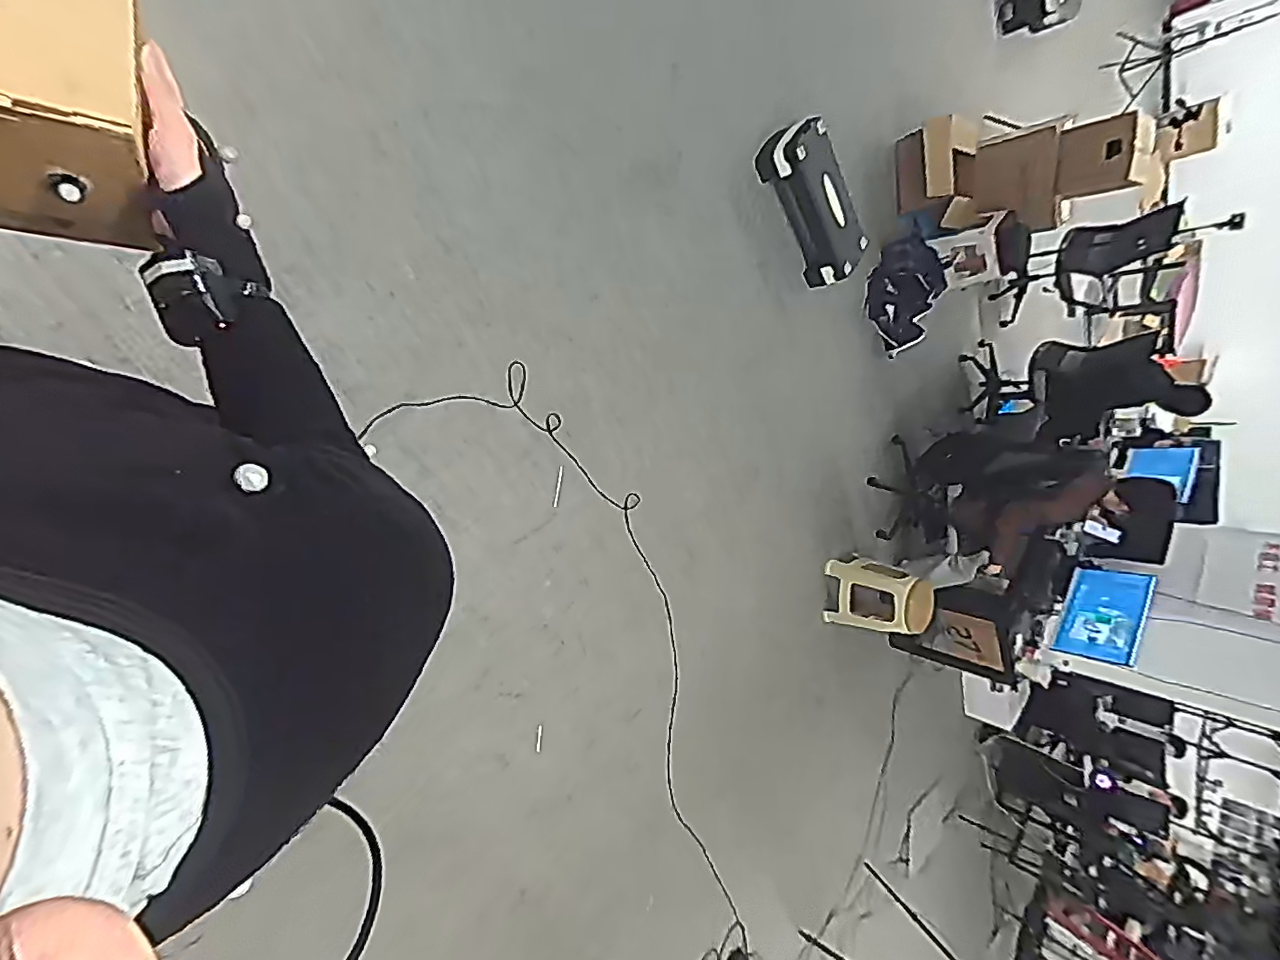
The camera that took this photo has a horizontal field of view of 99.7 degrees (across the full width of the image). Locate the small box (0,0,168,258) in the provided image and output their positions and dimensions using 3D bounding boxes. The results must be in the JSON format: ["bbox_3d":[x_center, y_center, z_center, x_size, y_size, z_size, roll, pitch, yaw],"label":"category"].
[{"bbox_3d":[-0.468,-0.297,0.403,0.168,0.176,0.179,-3,79,-39],"label":"small box"}]
